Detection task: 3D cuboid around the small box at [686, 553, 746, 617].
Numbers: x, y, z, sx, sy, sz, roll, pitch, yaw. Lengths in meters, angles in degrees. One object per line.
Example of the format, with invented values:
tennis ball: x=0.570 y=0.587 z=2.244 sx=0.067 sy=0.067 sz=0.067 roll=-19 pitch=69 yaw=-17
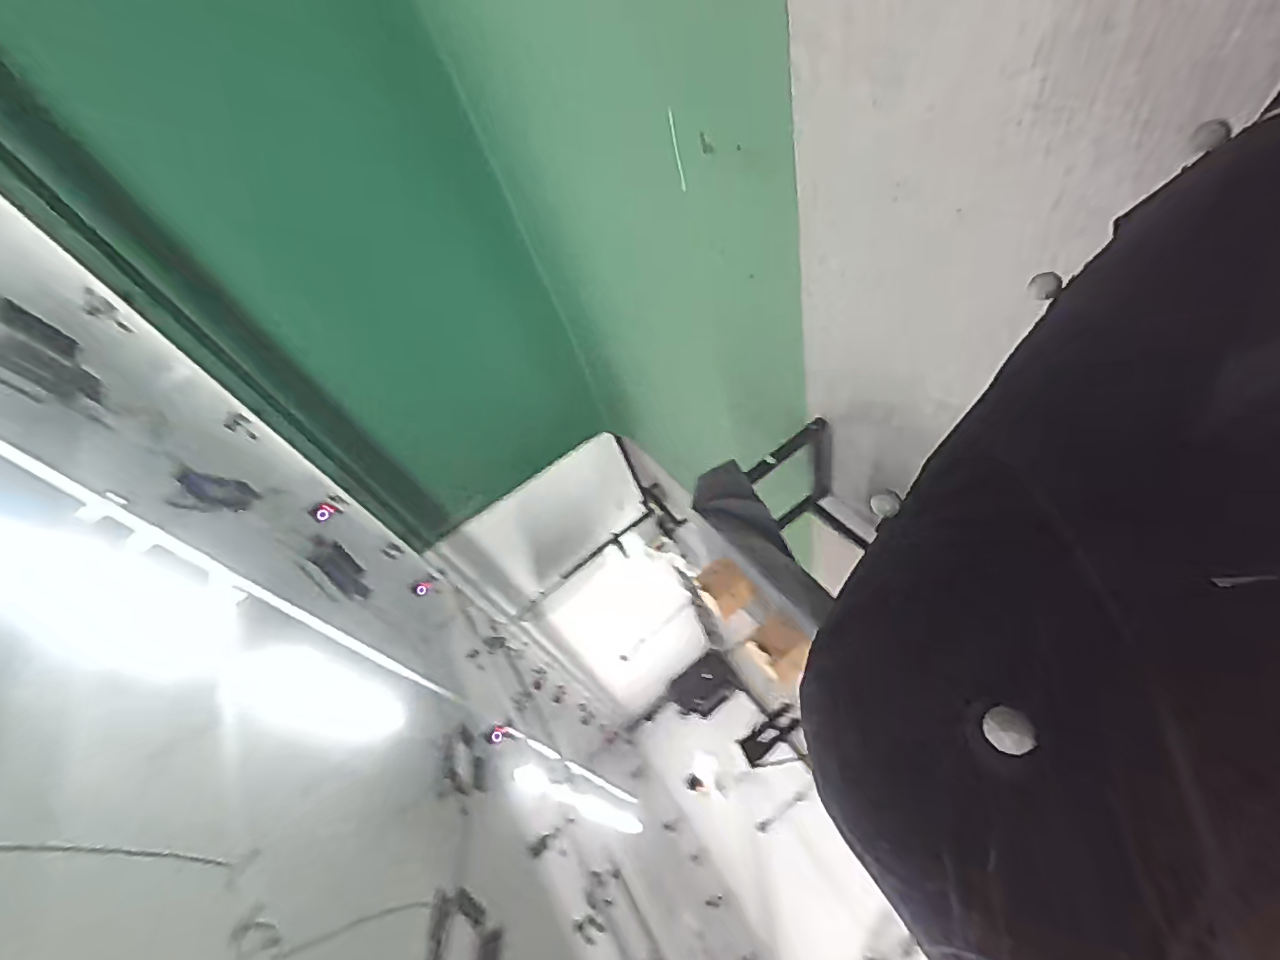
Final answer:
small box: x=0.330 y=0.448 z=2.325 sx=0.168 sy=0.176 sz=0.179 roll=45 pitch=167 yaw=46
